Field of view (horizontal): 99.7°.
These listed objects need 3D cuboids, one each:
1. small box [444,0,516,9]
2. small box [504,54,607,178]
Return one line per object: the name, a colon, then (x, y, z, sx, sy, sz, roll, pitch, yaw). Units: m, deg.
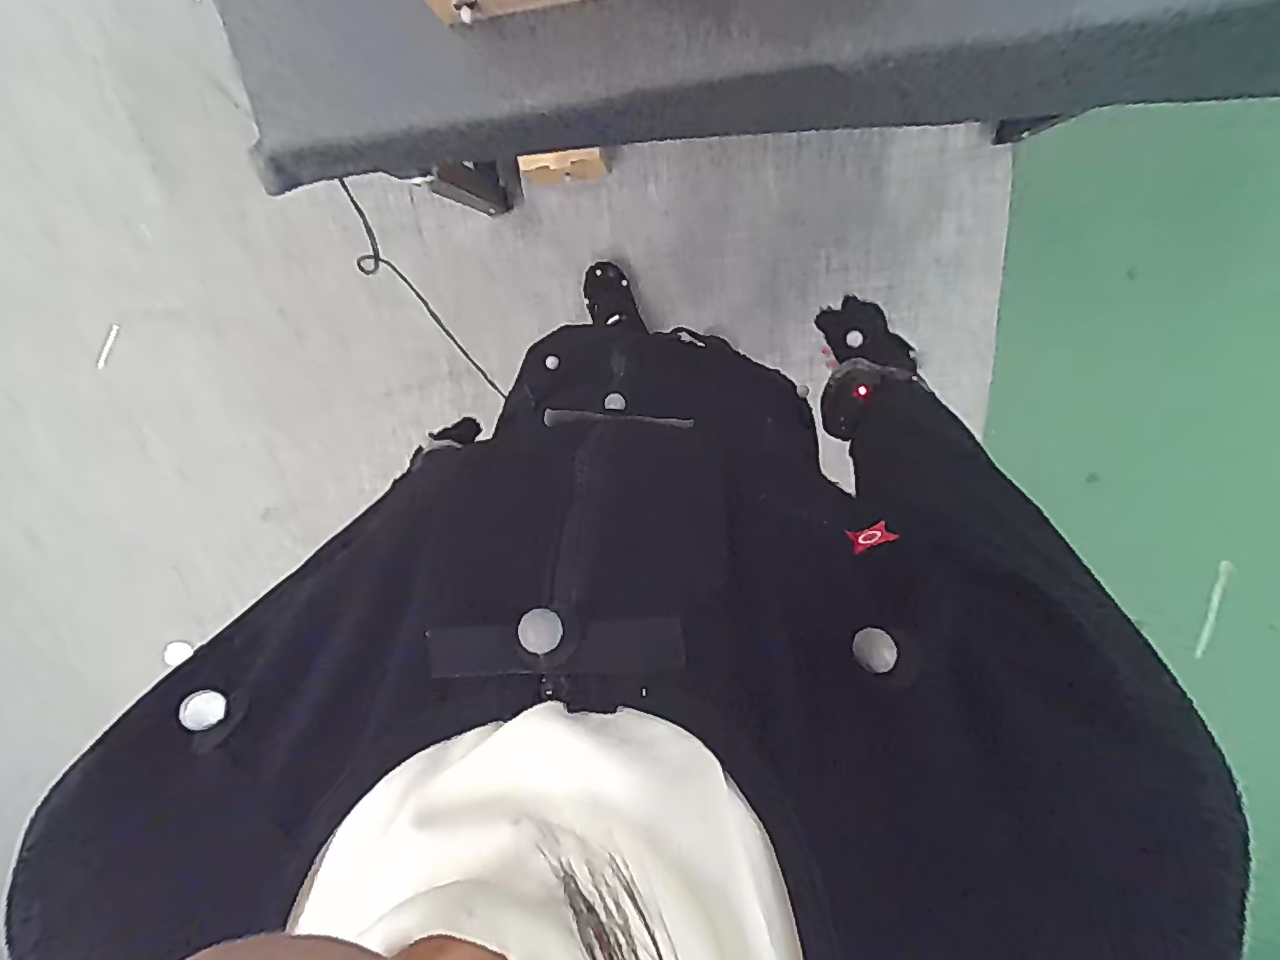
small box: (-0.126, -0.517, 0.427, 0.168, 0.176, 0.179, -6, 107, 4)
small box: (-0.167, -0.742, 1.126, 0.168, 0.176, 0.179, -5, 110, 4)
